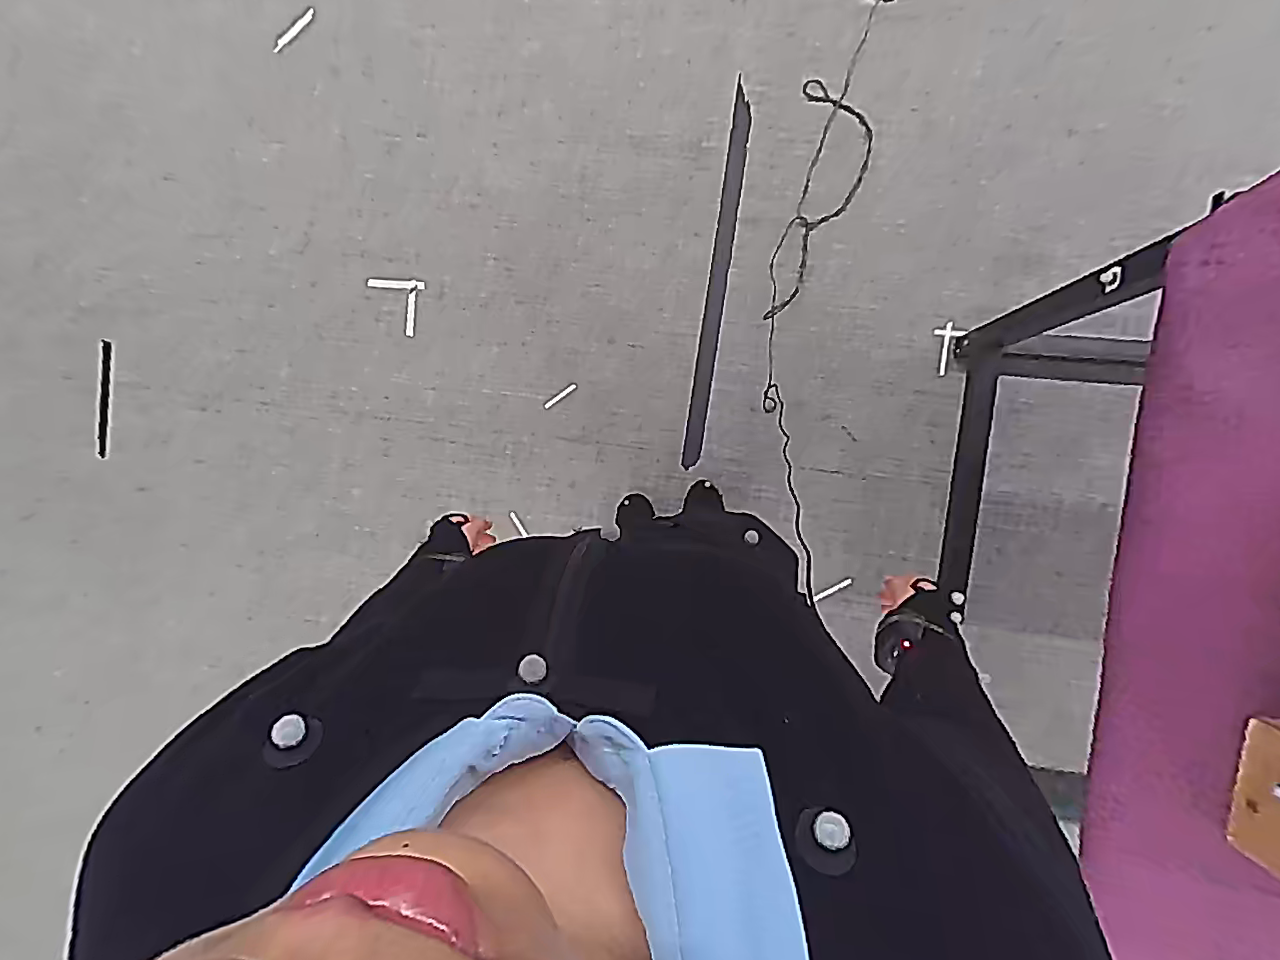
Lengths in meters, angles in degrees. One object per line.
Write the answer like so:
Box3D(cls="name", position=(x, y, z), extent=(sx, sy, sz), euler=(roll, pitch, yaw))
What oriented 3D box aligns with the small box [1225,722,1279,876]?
Box3D(cls="small box", position=(0.832, 0.393, 0.595), extent=(0.179, 0.176, 0.168), euler=(8, 94, 6))
